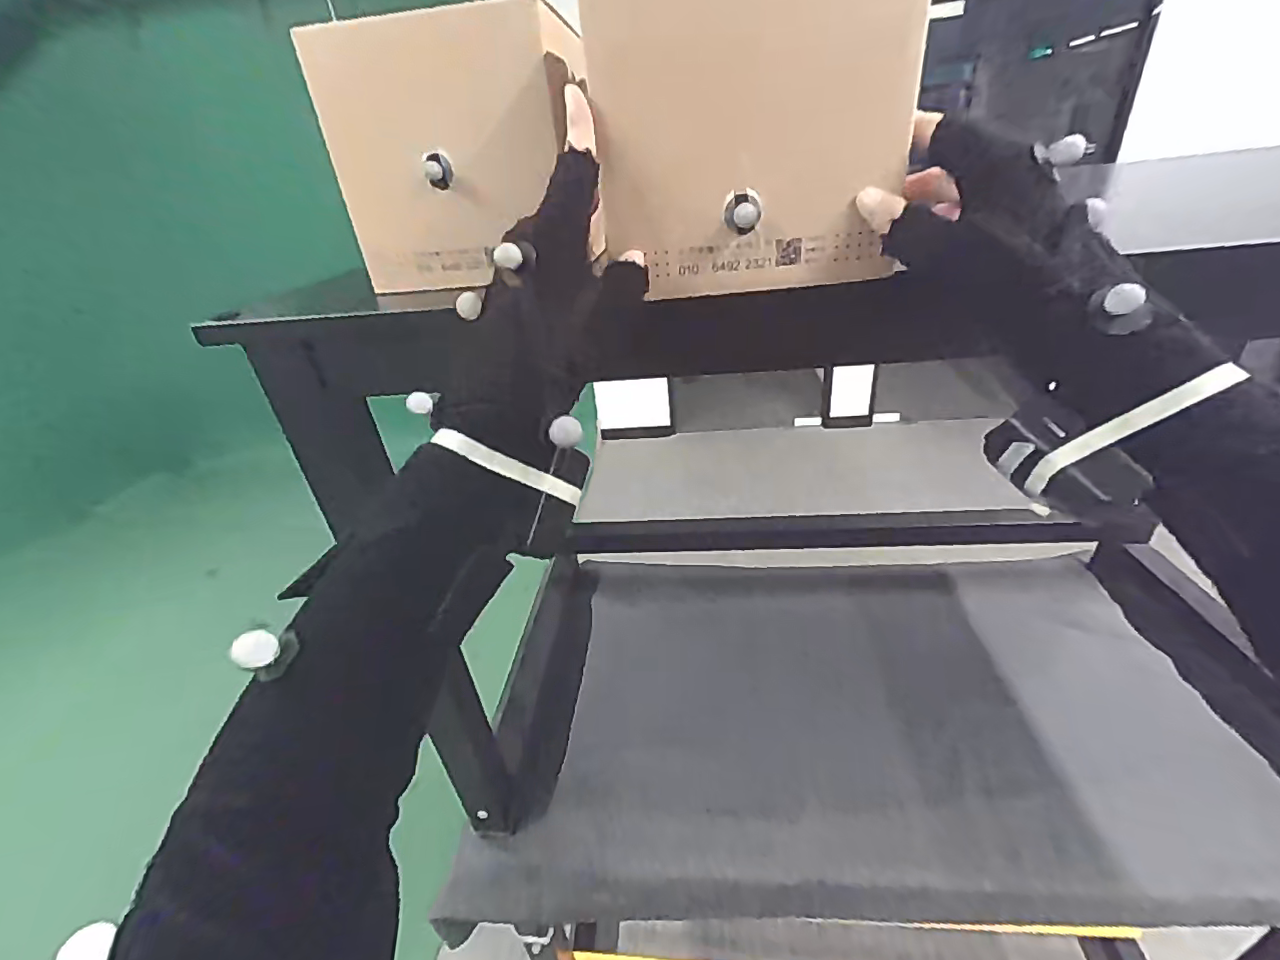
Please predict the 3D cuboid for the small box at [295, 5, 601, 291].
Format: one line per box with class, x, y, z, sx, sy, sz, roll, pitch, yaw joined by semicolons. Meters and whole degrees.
small box;-0.131;-0.259;0.454;0.168;0.176;0.179;-1;30;7
